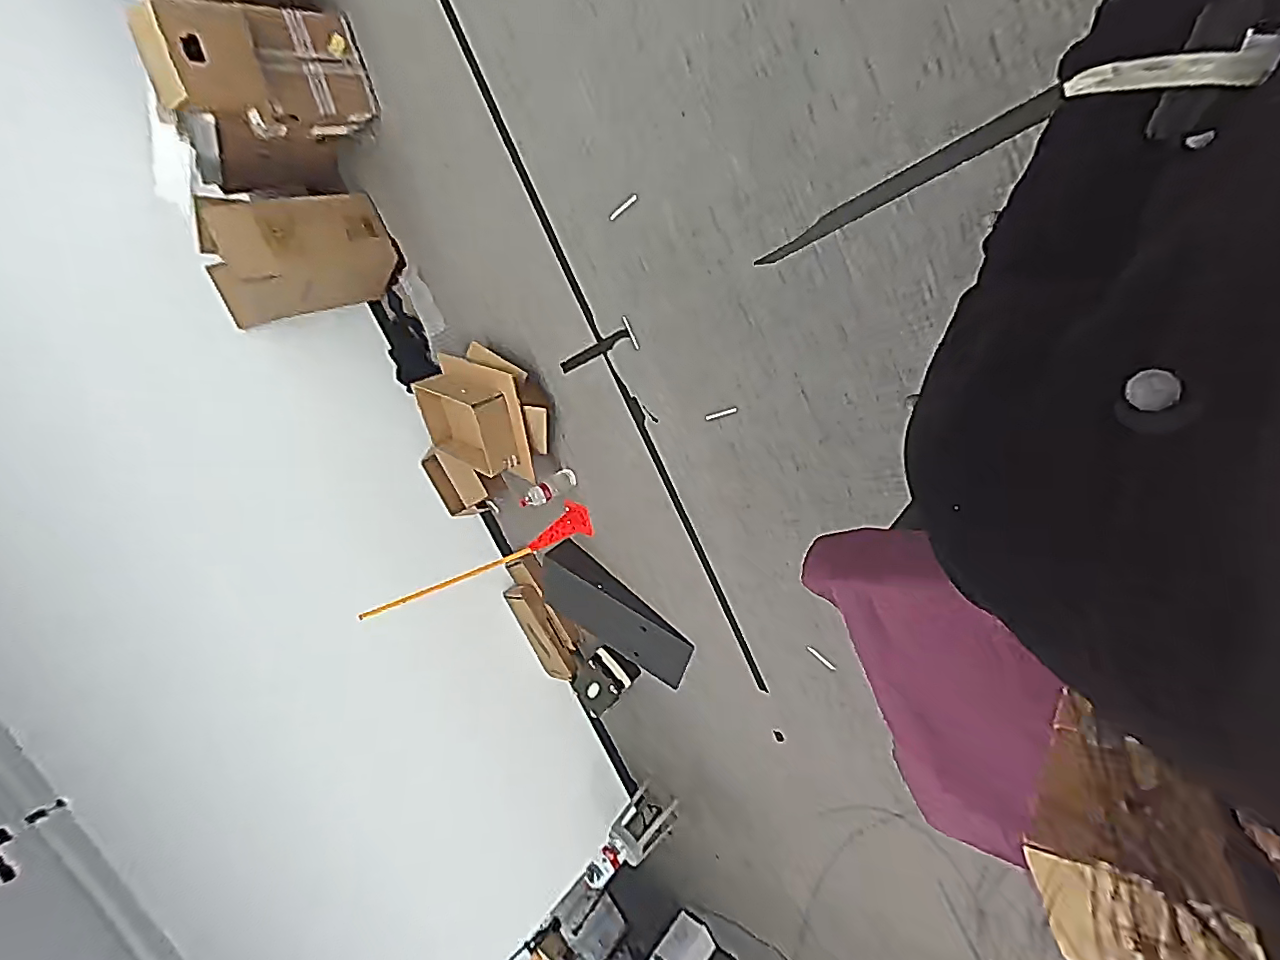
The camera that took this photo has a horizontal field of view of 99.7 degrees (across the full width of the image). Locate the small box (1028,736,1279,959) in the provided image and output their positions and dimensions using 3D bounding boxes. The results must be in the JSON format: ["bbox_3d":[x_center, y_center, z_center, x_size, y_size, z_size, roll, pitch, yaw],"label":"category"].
[{"bbox_3d":[0.536,0.406,0.563,0.168,0.176,0.179,-10,108,51],"label":"small box"}]
